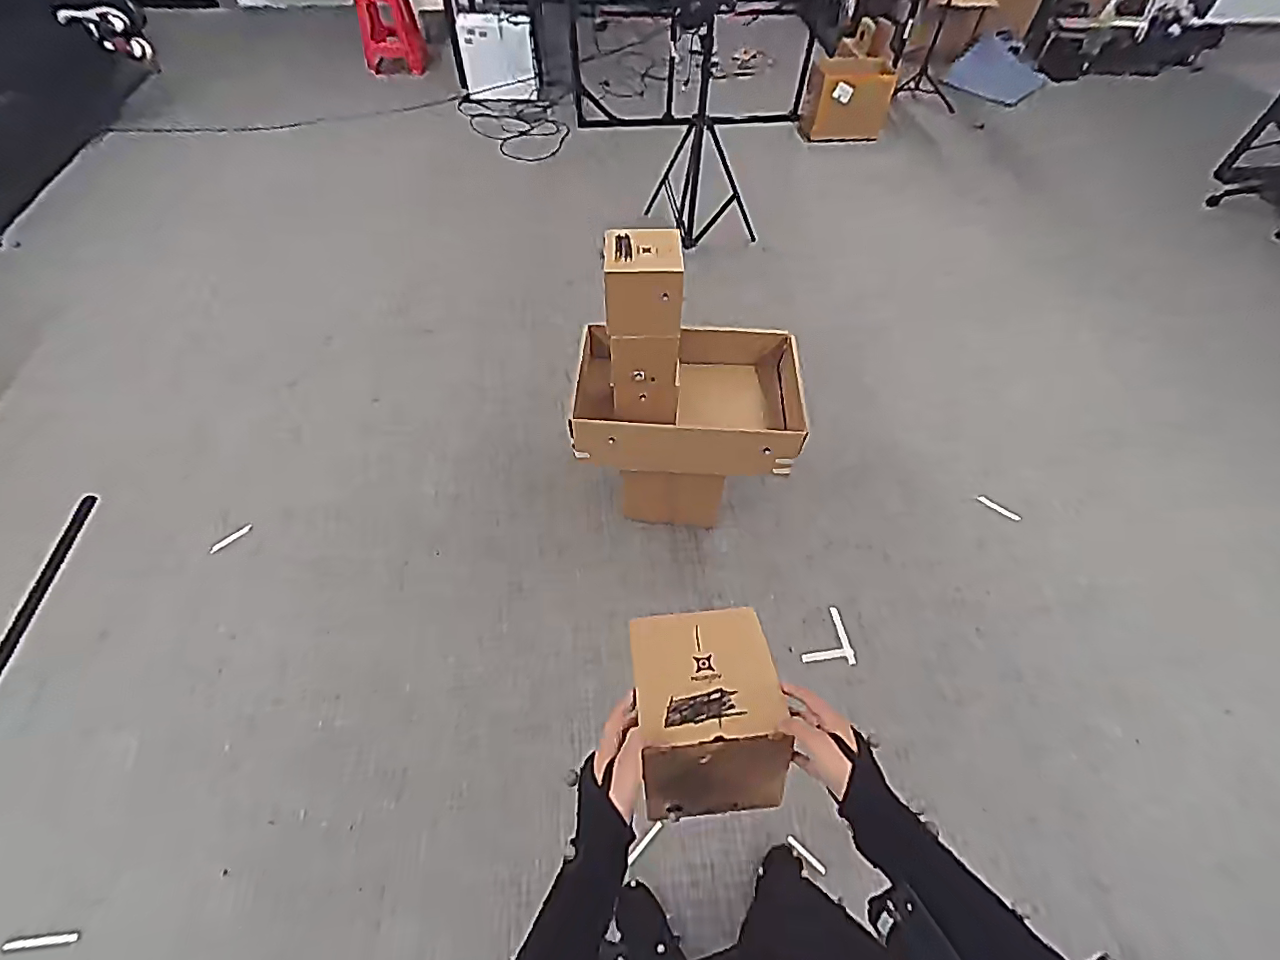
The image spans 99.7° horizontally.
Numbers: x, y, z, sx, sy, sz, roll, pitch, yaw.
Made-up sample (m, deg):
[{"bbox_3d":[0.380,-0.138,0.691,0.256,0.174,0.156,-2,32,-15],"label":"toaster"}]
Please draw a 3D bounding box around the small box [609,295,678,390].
[{"bbox_3d":[0.005,-0.351,1.384,0.168,0.176,0.179,-2,55,-2],"label":"small box"}]

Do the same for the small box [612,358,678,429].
[{"bbox_3d":[0.012,-0.256,1.517,0.179,0.176,0.168,1,55,-2],"label":"small box"}]

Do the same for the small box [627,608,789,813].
[{"bbox_3d":[0.076,0.289,0.675,0.168,0.176,0.179,-6,35,-3],"label":"small box"}]
